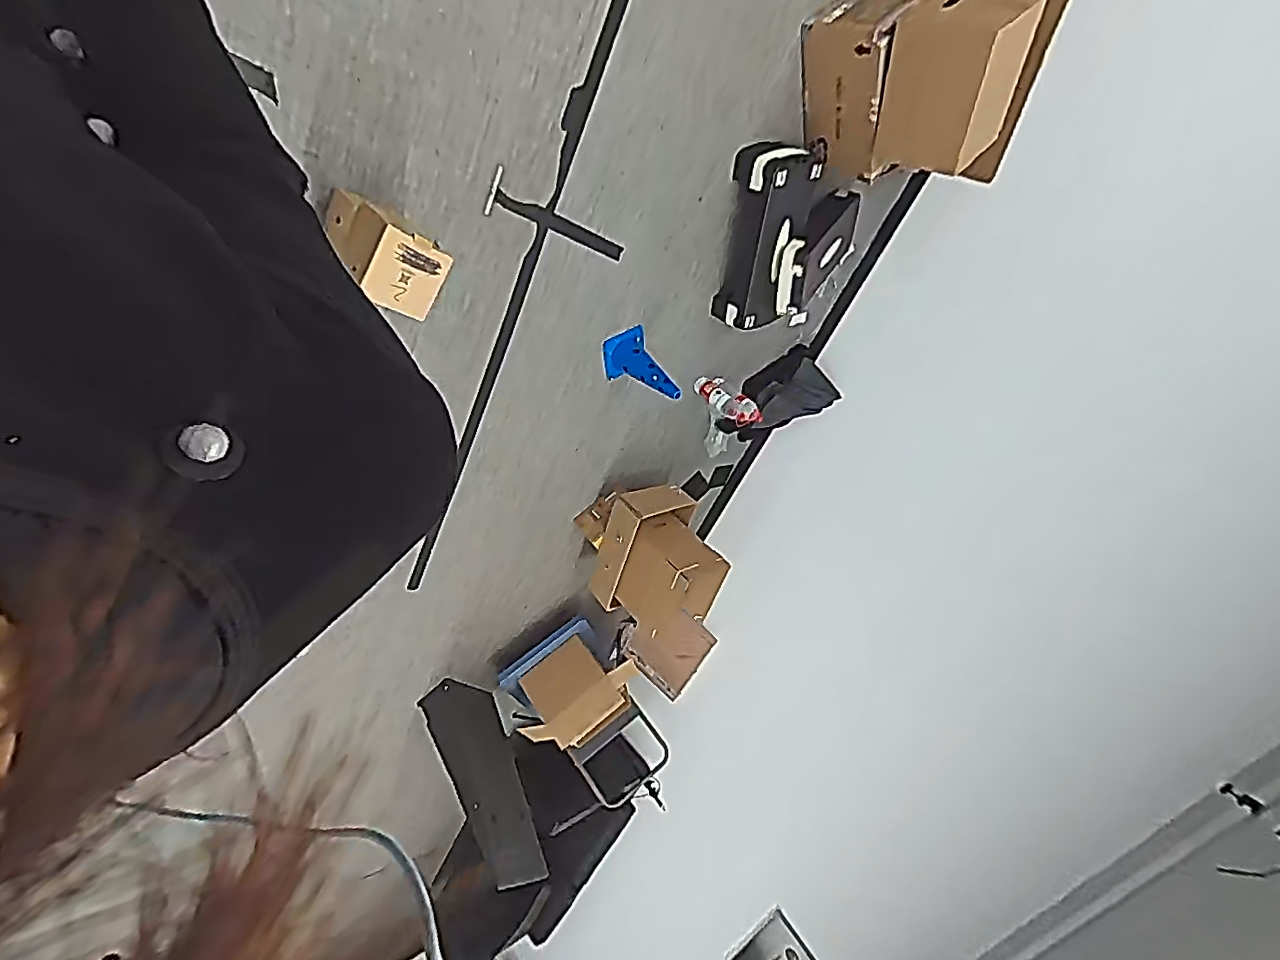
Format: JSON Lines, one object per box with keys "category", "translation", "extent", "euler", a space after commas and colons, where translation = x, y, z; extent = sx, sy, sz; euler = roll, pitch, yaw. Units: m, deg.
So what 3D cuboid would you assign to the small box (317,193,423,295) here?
{"category": "small box", "translation": [-0.690, -0.601, 1.373], "extent": [0.179, 0.176, 0.168], "euler": [6, 121, -50]}
